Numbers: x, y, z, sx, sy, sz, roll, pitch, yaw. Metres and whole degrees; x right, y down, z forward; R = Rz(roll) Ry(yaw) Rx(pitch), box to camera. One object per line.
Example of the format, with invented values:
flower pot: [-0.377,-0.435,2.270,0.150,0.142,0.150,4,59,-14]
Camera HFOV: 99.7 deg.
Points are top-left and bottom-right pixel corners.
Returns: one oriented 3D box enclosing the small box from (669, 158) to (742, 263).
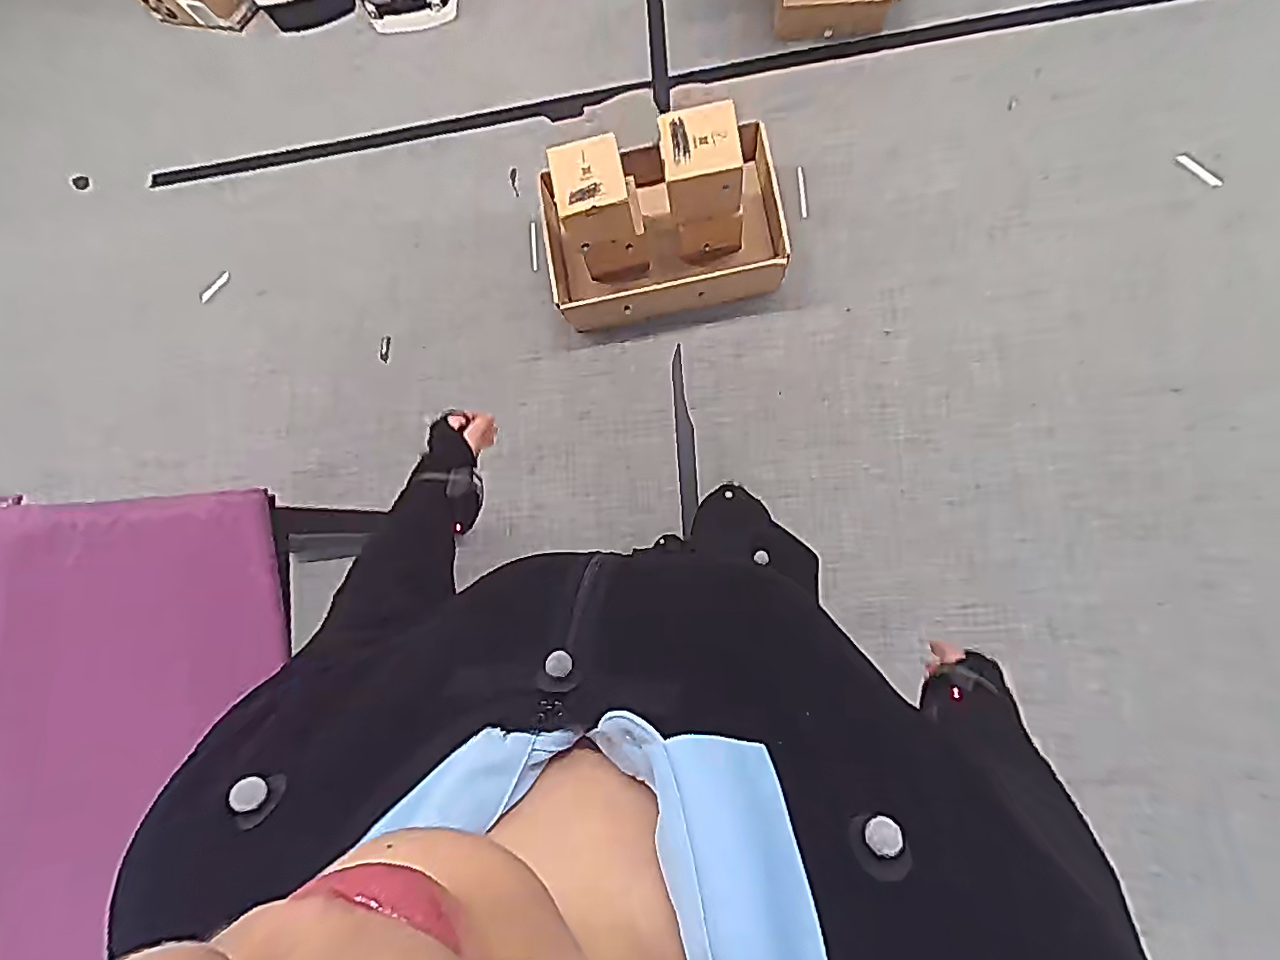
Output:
small box: [0.174,-0.716,1.452,0.168,0.176,0.179,-10,83,7]

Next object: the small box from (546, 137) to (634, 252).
small box: [-0.115,-0.680,1.315,0.168,0.176,0.179,-12,82,4]

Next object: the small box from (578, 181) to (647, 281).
small box: [-0.080,-0.672,1.477,0.179,0.176,0.168,-11,82,5]
